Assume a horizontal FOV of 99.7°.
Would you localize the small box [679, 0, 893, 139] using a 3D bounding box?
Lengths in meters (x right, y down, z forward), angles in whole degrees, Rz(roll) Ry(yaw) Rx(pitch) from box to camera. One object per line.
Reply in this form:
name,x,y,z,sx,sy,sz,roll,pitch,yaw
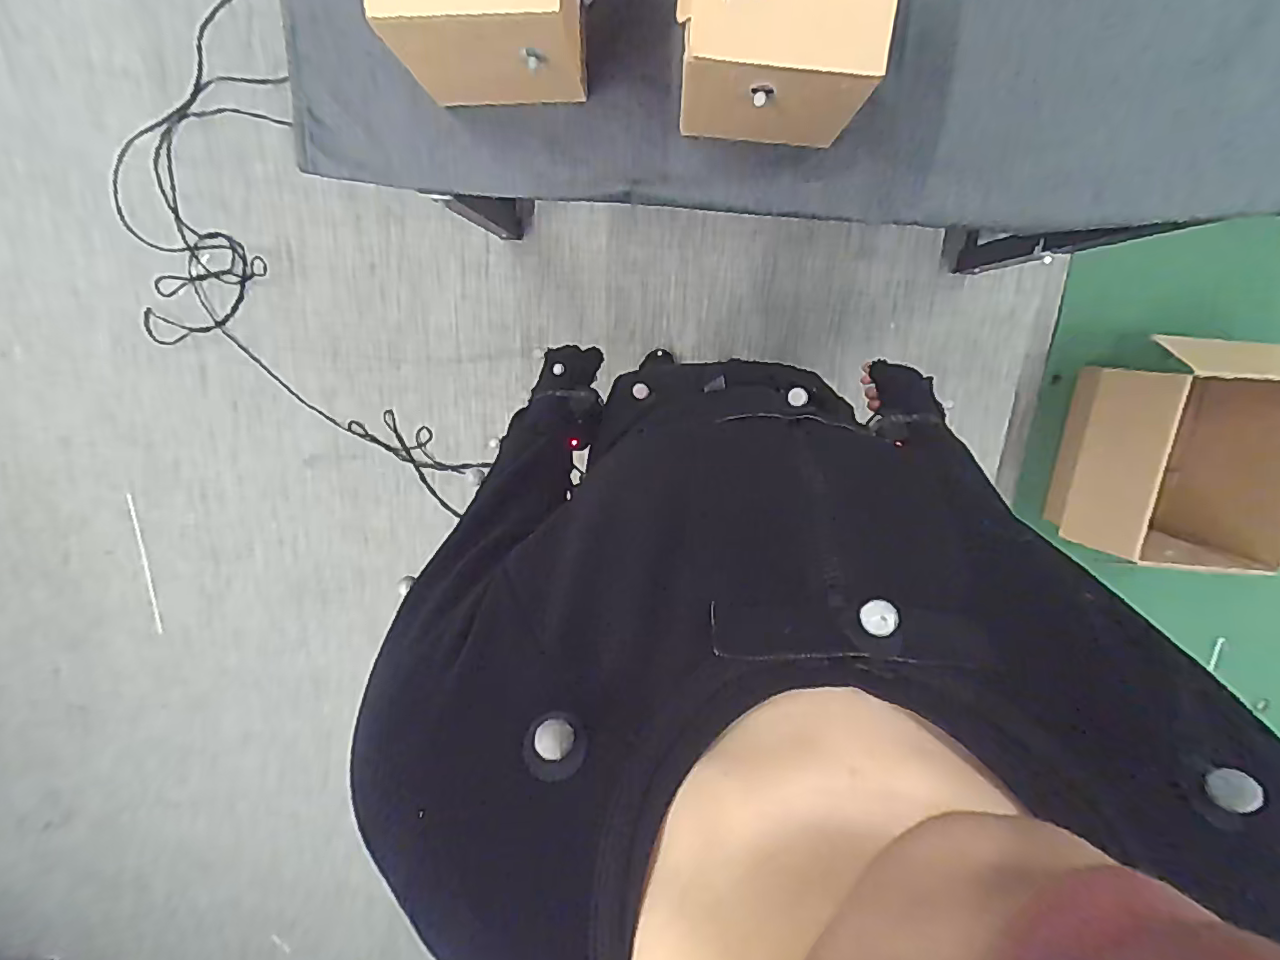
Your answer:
small box,0.132,-0.454,0.522,0.179,0.176,0.168,6,104,1
